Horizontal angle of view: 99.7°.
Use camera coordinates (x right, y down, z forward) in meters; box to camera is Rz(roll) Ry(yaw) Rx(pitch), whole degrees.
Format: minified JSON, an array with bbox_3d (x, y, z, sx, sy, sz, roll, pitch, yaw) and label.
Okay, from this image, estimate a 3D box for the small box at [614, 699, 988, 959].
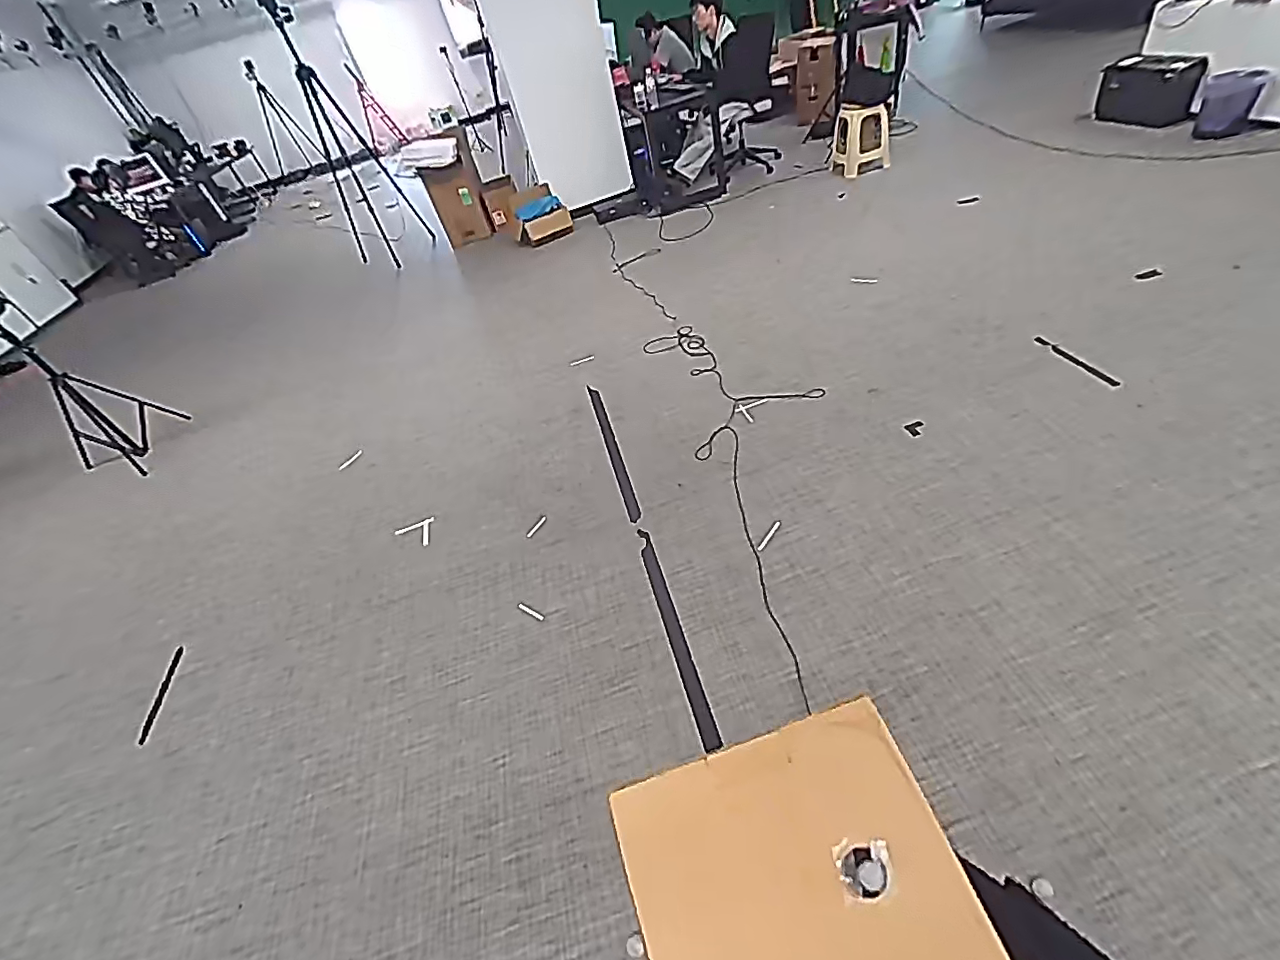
[{"bbox_3d":[0.095,0.268,0.358,0.168,0.179,0.176,-19,60,-4],"label":"small box"}]
